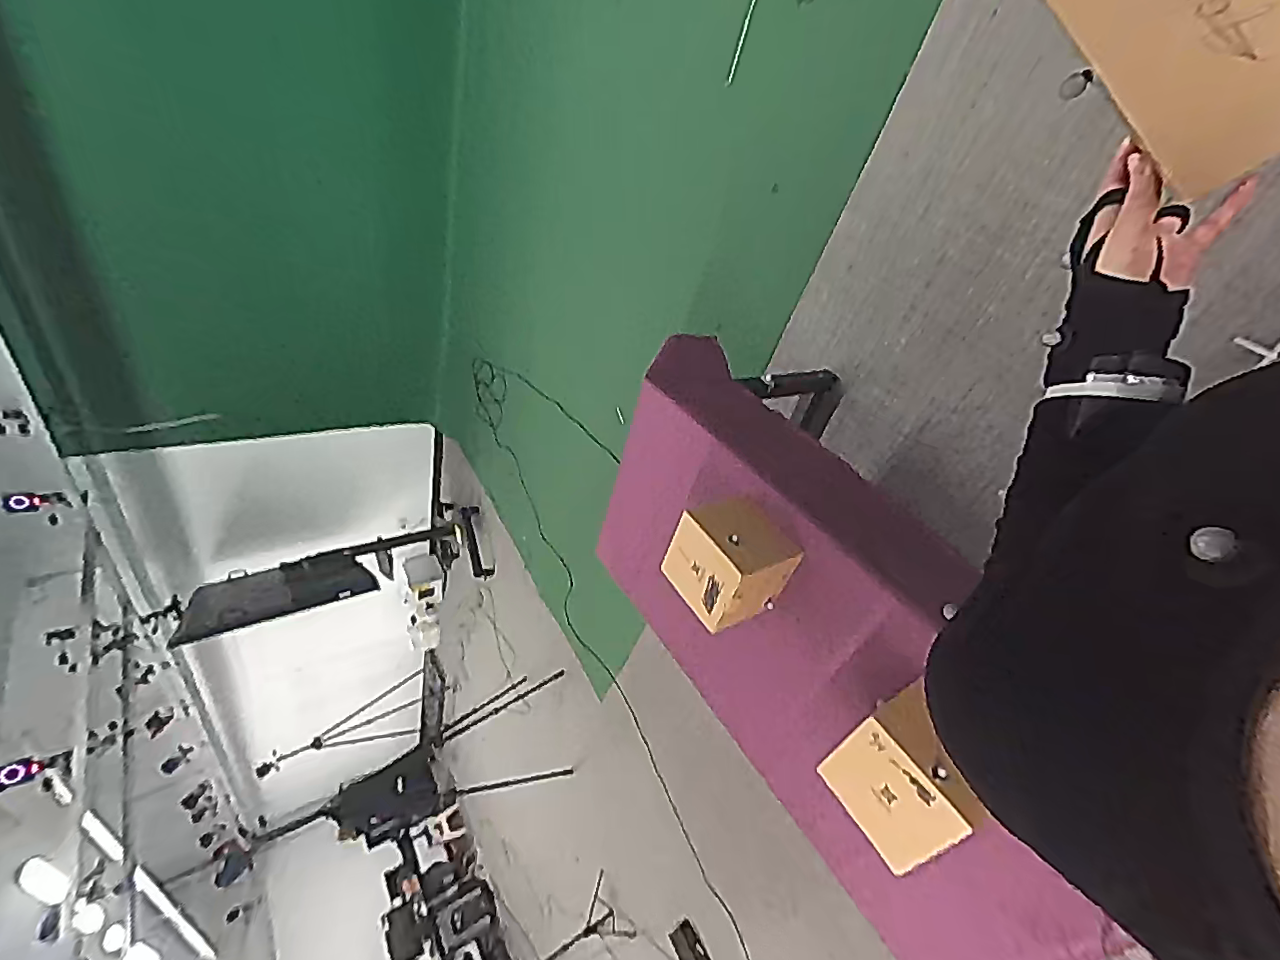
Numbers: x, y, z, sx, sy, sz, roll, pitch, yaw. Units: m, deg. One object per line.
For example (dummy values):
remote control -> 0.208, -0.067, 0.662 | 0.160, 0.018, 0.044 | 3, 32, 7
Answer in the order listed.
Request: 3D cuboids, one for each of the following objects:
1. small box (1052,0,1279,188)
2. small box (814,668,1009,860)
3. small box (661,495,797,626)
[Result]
small box -> 0.352, -0.295, 0.291 | 0.179, 0.176, 0.168 | -32, 93, 47
small box -> 0.409, 0.422, 0.820 | 0.168, 0.176, 0.179 | 50, 137, 34
small box -> 0.175, 0.149, 1.066 | 0.179, 0.176, 0.168 | 50, 136, 35
